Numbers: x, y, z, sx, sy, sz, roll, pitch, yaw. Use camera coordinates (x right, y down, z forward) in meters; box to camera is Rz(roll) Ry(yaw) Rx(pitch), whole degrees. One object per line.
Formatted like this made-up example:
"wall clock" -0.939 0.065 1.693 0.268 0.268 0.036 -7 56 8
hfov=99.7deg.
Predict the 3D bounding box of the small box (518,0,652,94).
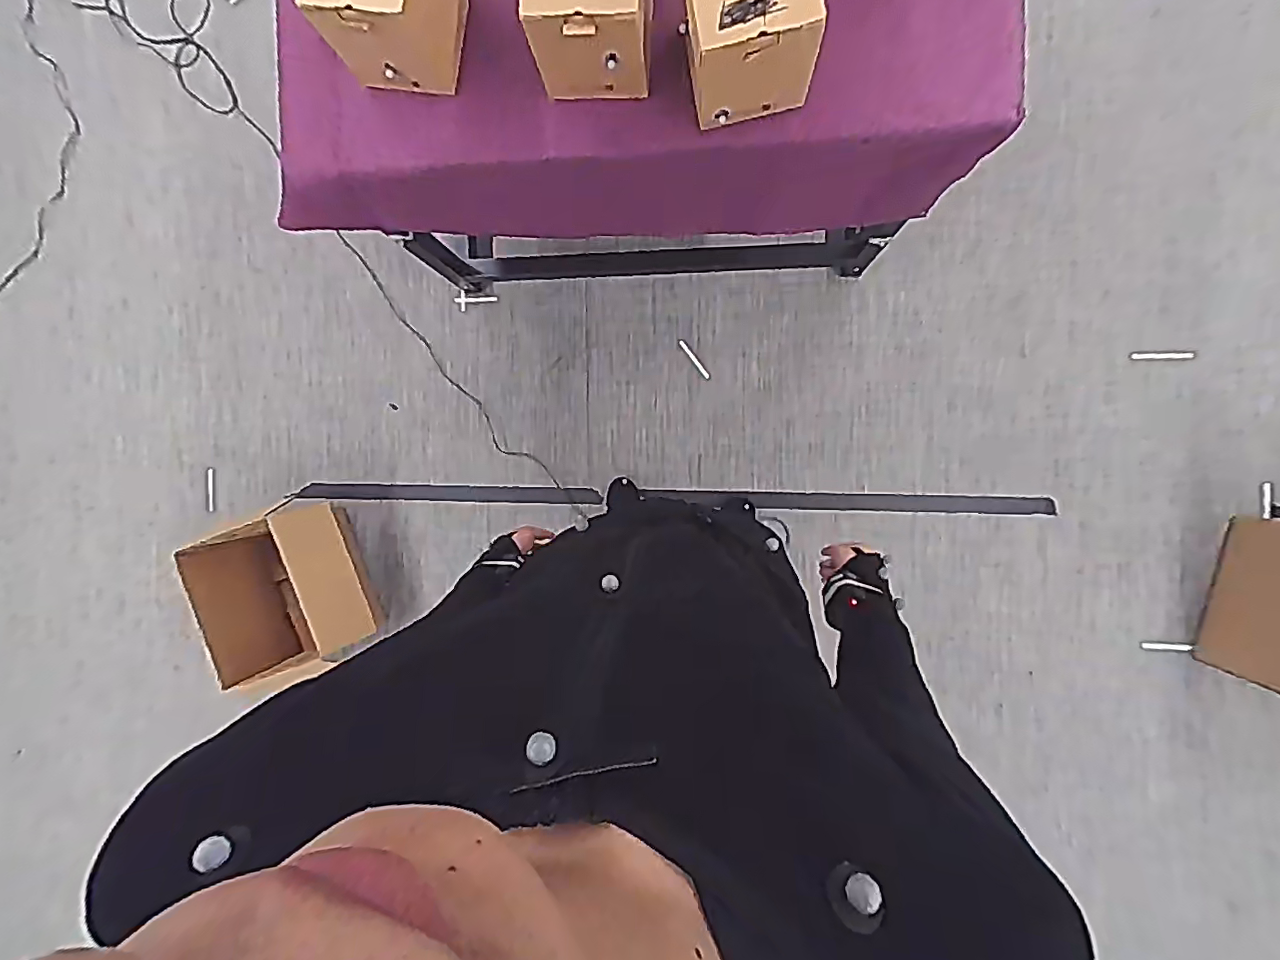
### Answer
"small box" -0.072 -0.710 0.801 0.168 0.176 0.179 4 91 5

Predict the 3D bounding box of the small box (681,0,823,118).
"small box" 0.151 -0.661 0.777 0.168 0.176 0.179 -10 89 6

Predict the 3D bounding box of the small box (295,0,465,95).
"small box" -0.386 -0.743 0.830 0.168 0.176 0.179 10 93 6
